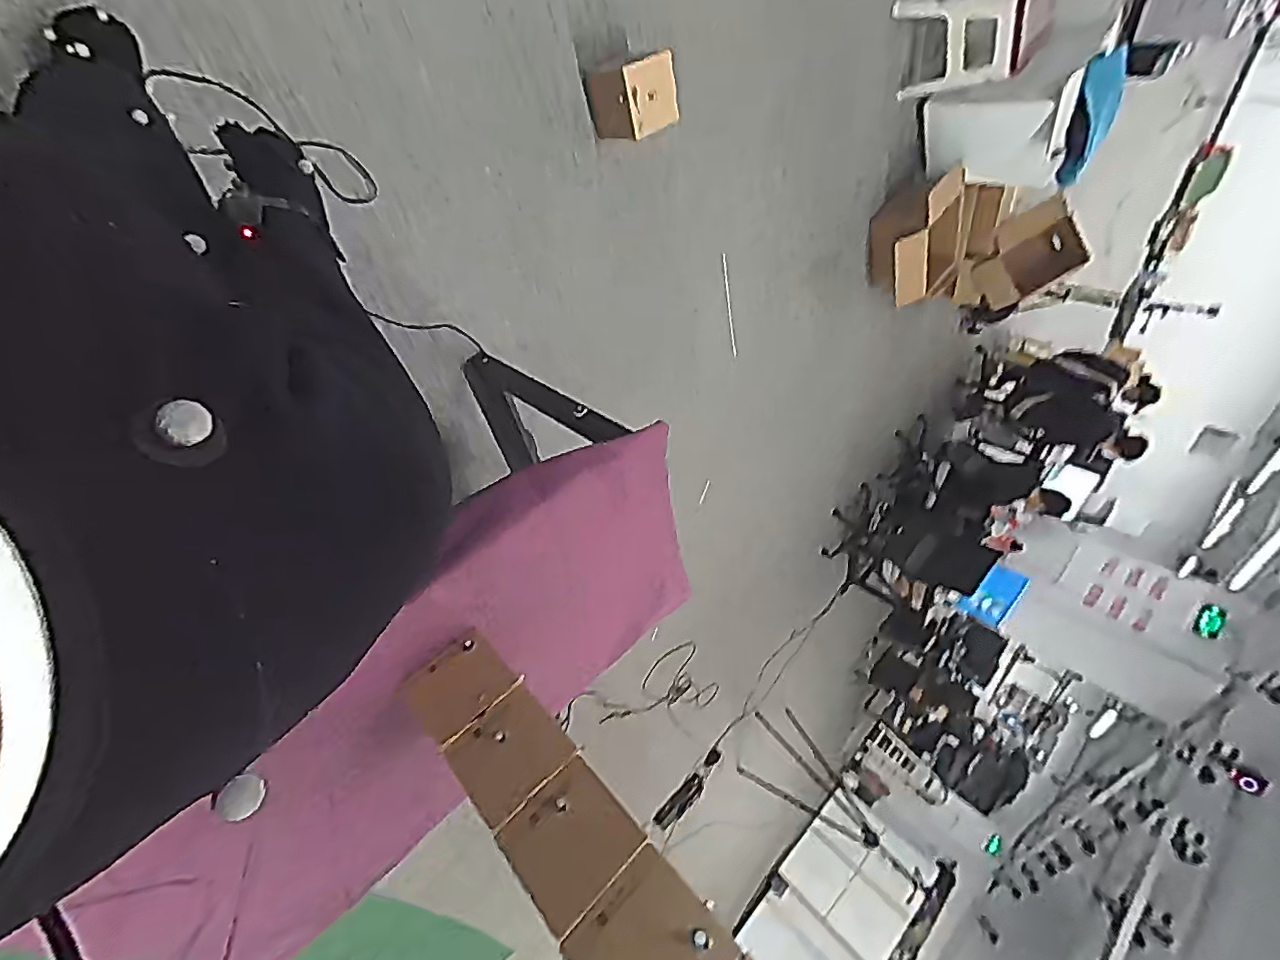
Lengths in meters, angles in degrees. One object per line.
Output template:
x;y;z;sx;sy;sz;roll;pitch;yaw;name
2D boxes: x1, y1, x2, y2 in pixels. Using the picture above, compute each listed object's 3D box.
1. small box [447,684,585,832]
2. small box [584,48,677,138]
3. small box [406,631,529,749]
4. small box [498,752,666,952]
-0.193;0.484;0.918;0.168;0.176;0.179;-38;137;-25;small box
-0.026;-1.076;1.504;0.179;0.176;0.168;-40;138;-23;small box
-0.306;0.412;1.014;0.168;0.176;0.179;-37;137;-25;small box
-0.084;0.554;0.819;0.168;0.176;0.179;-38;137;-25;small box
